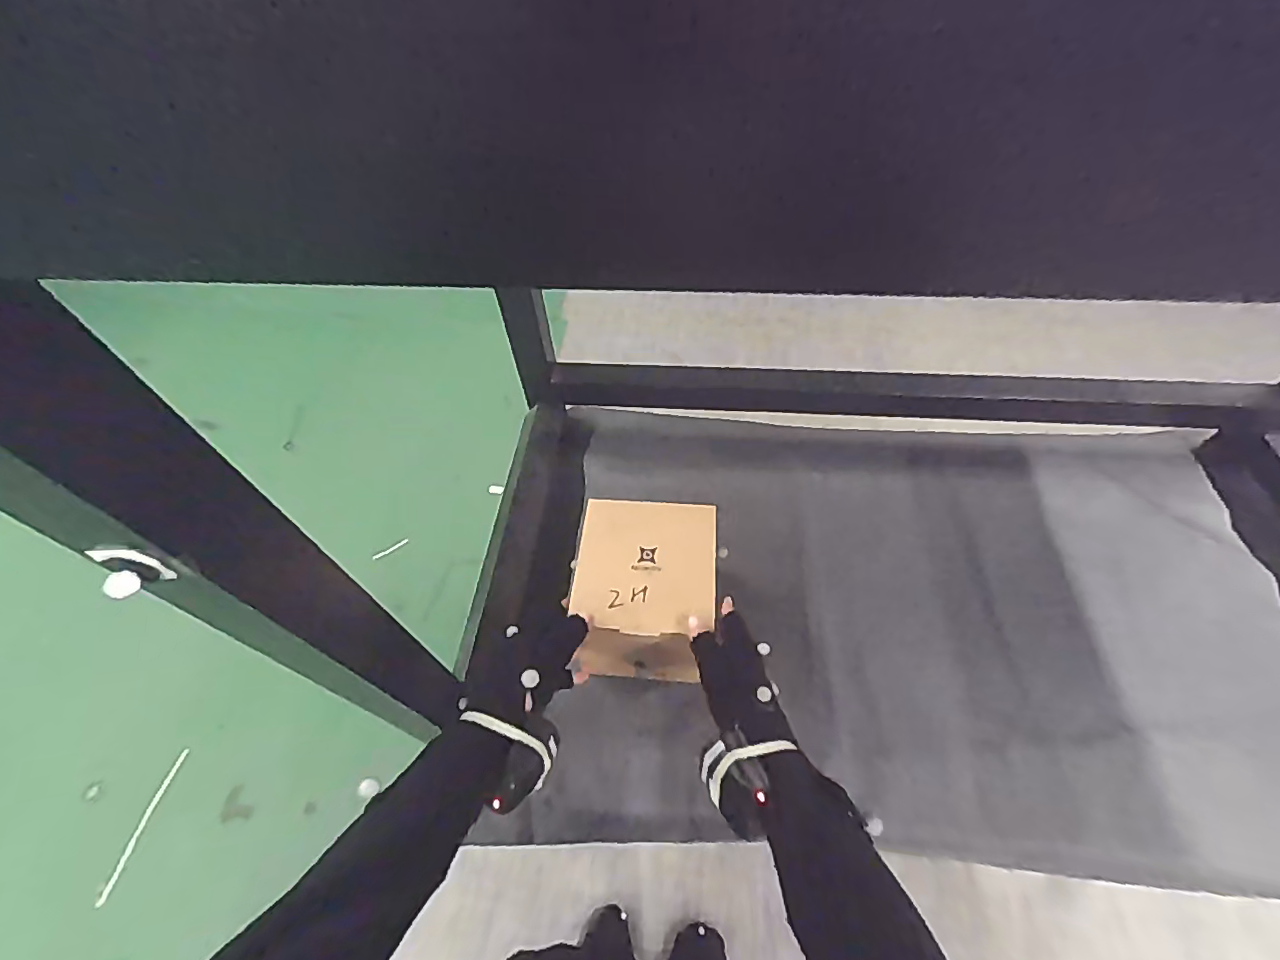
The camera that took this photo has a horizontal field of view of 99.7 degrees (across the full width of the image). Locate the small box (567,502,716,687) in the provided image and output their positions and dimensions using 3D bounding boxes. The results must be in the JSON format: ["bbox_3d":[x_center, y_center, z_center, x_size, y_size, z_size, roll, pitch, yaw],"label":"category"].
[{"bbox_3d":[0.009,0.150,0.706,0.168,0.176,0.179,3,53,5],"label":"small box"}]
